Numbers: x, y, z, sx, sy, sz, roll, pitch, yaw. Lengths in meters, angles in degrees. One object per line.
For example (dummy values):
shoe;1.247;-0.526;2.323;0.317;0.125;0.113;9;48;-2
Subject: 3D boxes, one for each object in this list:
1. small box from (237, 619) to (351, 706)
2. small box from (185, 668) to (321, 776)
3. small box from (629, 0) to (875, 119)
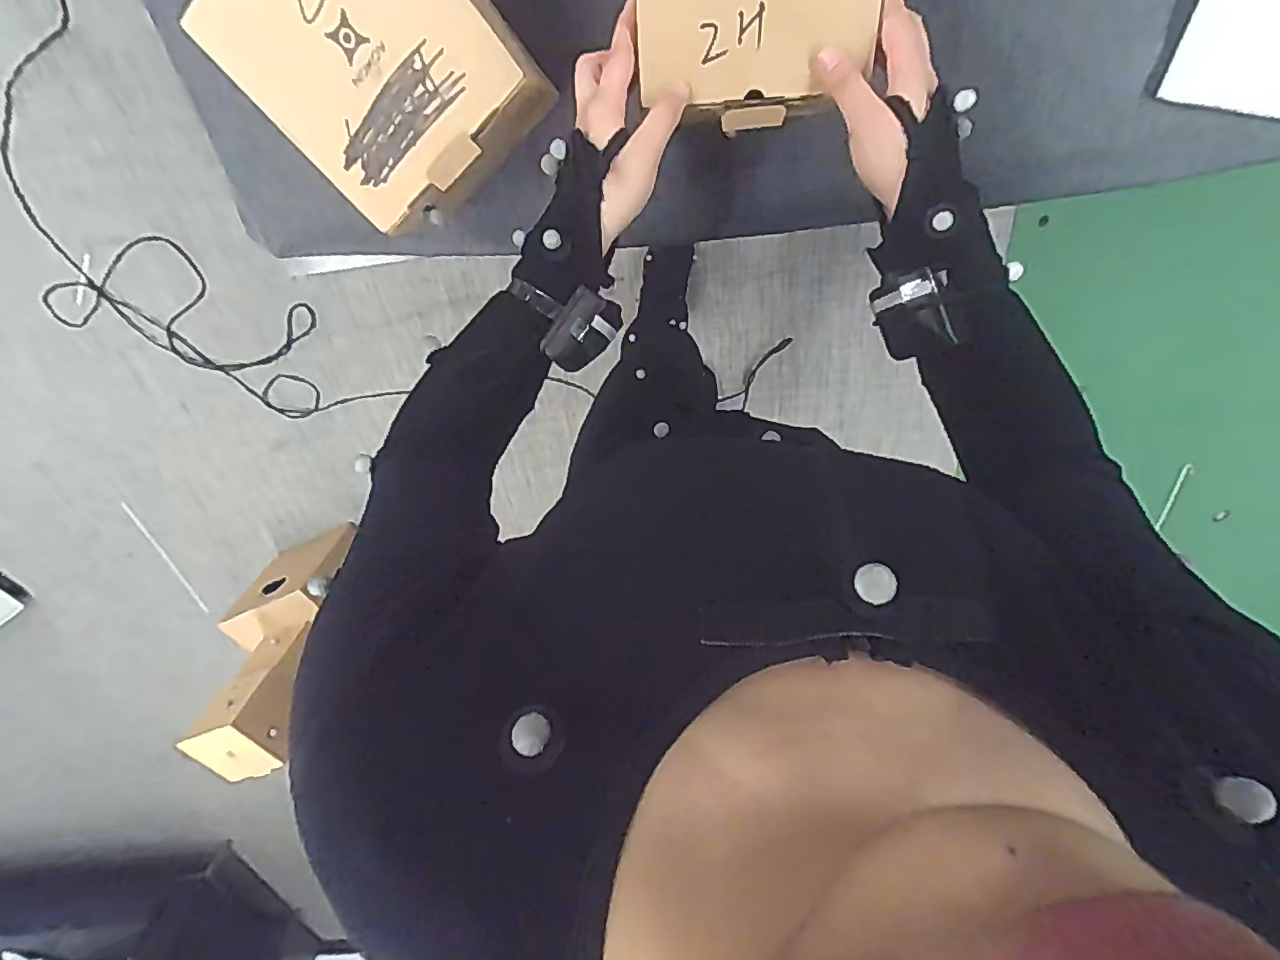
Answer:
small box;-0.942;0.516;1.485;0.168;0.176;0.179;-22;119;12
small box;-0.946;0.591;1.341;0.168;0.176;0.179;-22;120;12
small box;0.074;-0.391;0.413;0.168;0.176;0.179;-3;121;3
